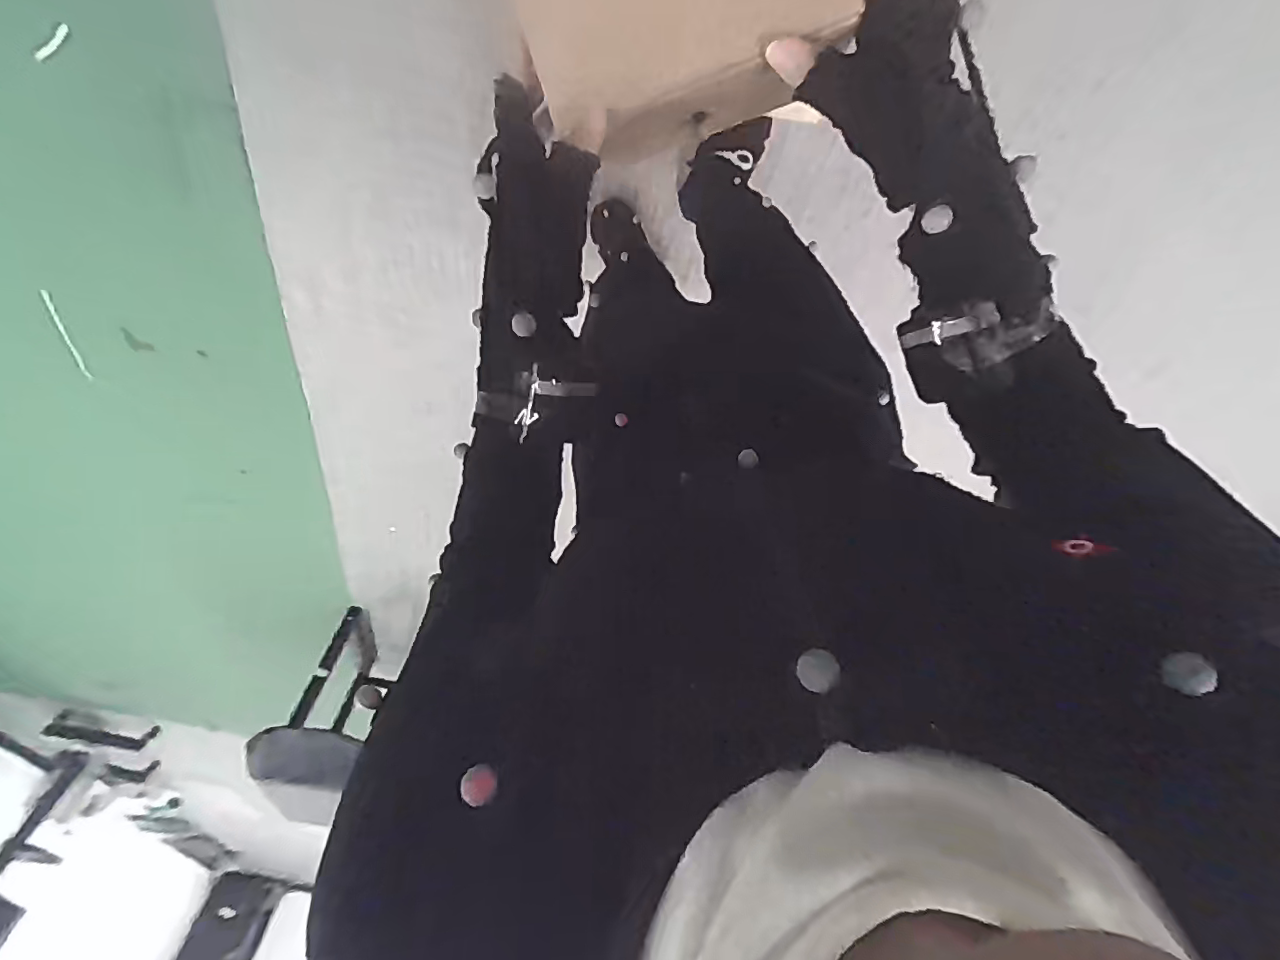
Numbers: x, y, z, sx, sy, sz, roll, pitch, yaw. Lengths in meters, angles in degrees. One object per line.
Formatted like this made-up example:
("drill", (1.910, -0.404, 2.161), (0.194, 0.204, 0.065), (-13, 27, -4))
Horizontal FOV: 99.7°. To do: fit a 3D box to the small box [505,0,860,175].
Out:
("small box", (0.024, -0.312, 0.339), (0.179, 0.176, 0.168), (-11, 112, 20))
